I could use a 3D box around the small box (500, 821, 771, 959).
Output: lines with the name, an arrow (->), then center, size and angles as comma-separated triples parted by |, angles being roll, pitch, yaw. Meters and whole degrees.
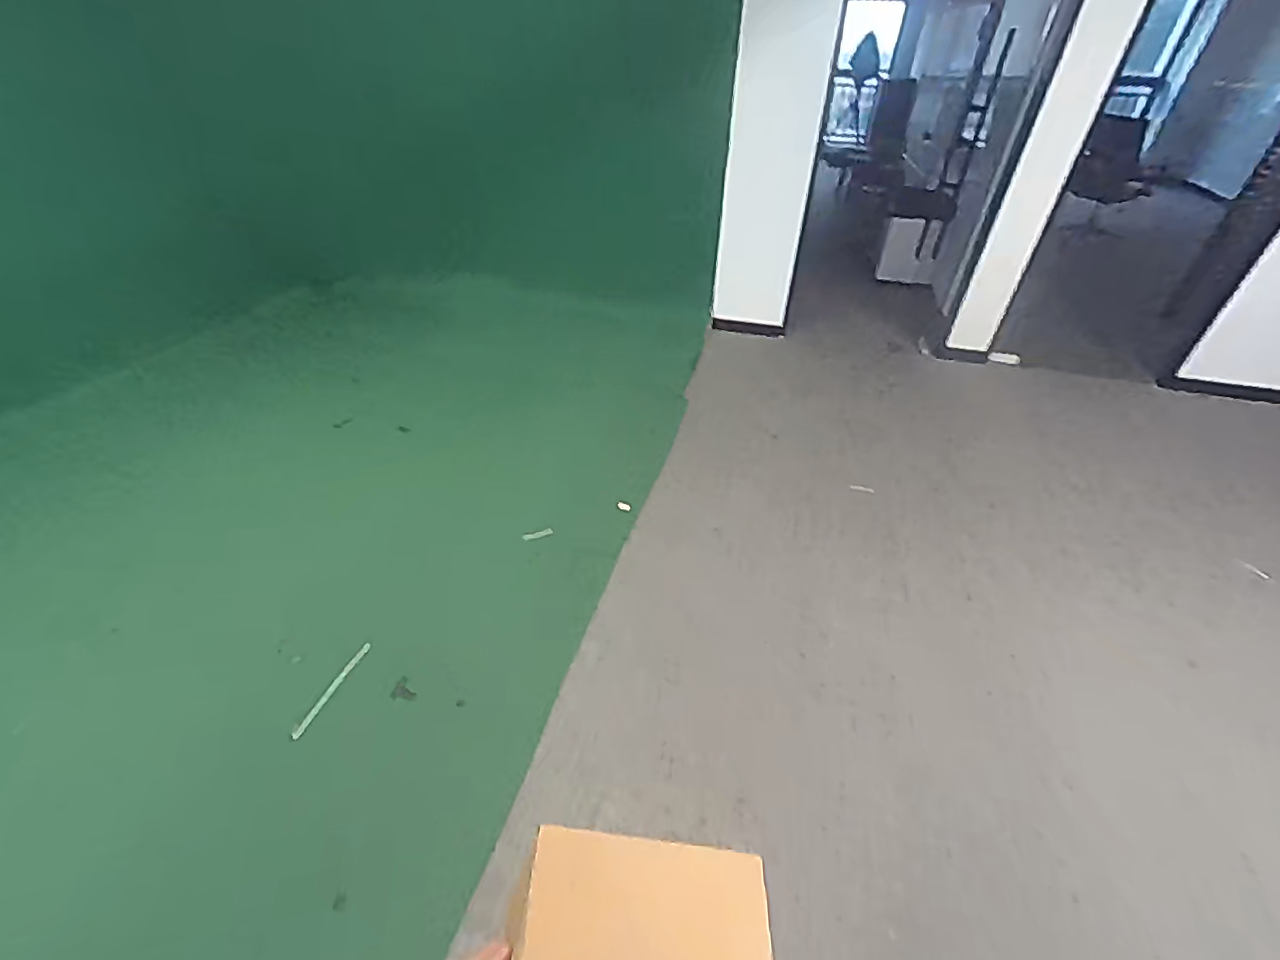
small box -> -0.015, 0.372, 0.373 | 0.168, 0.176, 0.179 | 13, 38, -8
